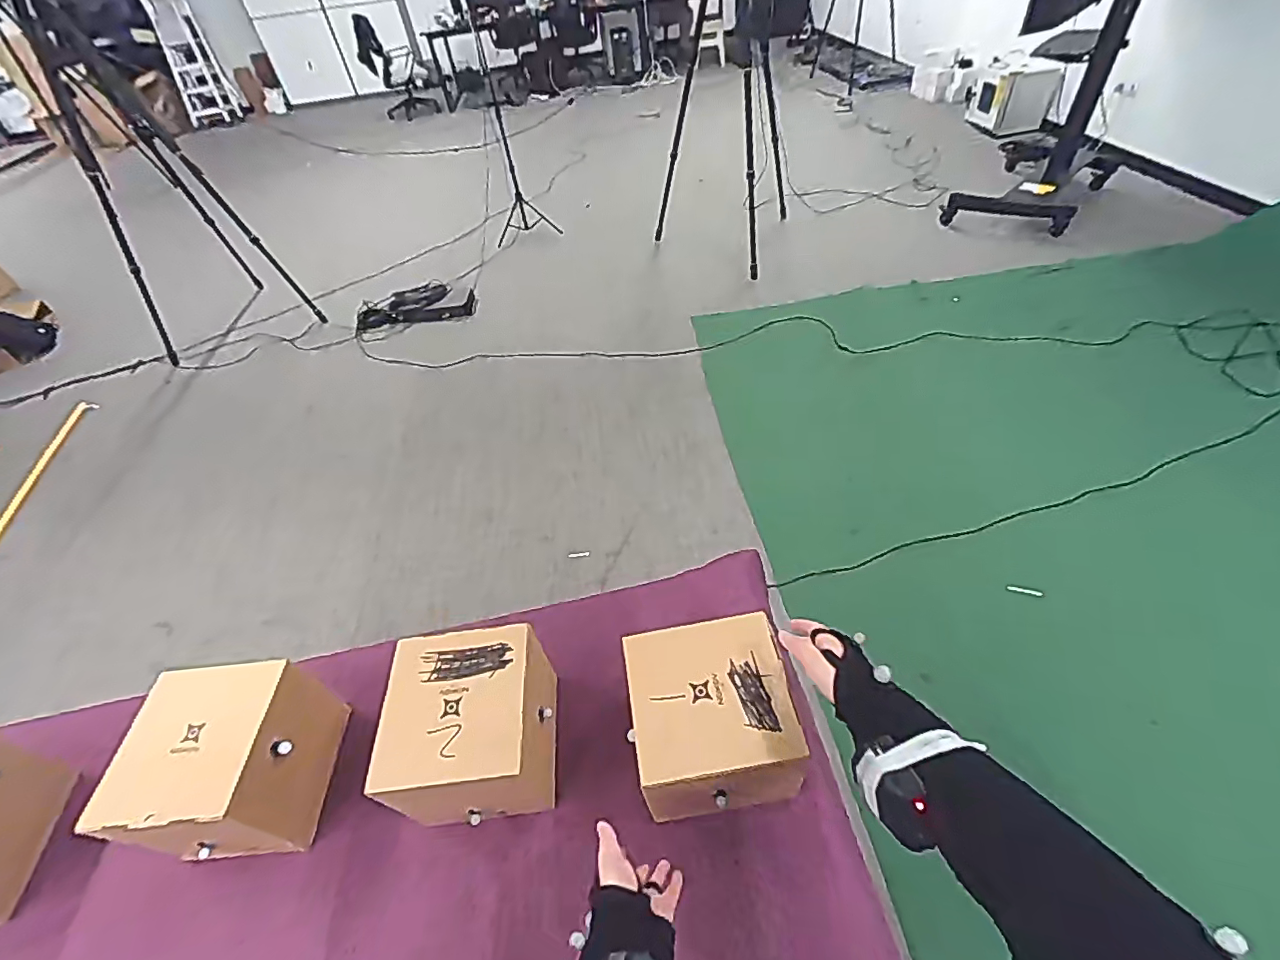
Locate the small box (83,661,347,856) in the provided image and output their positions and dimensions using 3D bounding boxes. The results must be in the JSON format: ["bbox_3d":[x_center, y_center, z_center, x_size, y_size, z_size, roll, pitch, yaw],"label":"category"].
[{"bbox_3d":[-0.505,0.352,0.682,0.168,0.176,0.179,-7,48,3],"label":"small box"}]

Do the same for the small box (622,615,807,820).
[{"bbox_3d":[0.082,0.287,0.649,0.179,0.176,0.168,-11,47,0],"label":"small box"}]

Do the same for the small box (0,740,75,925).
[{"bbox_3d":[-0.862,0.436,0.651,0.168,0.176,0.179,-12,47,-2],"label":"small box"}]
